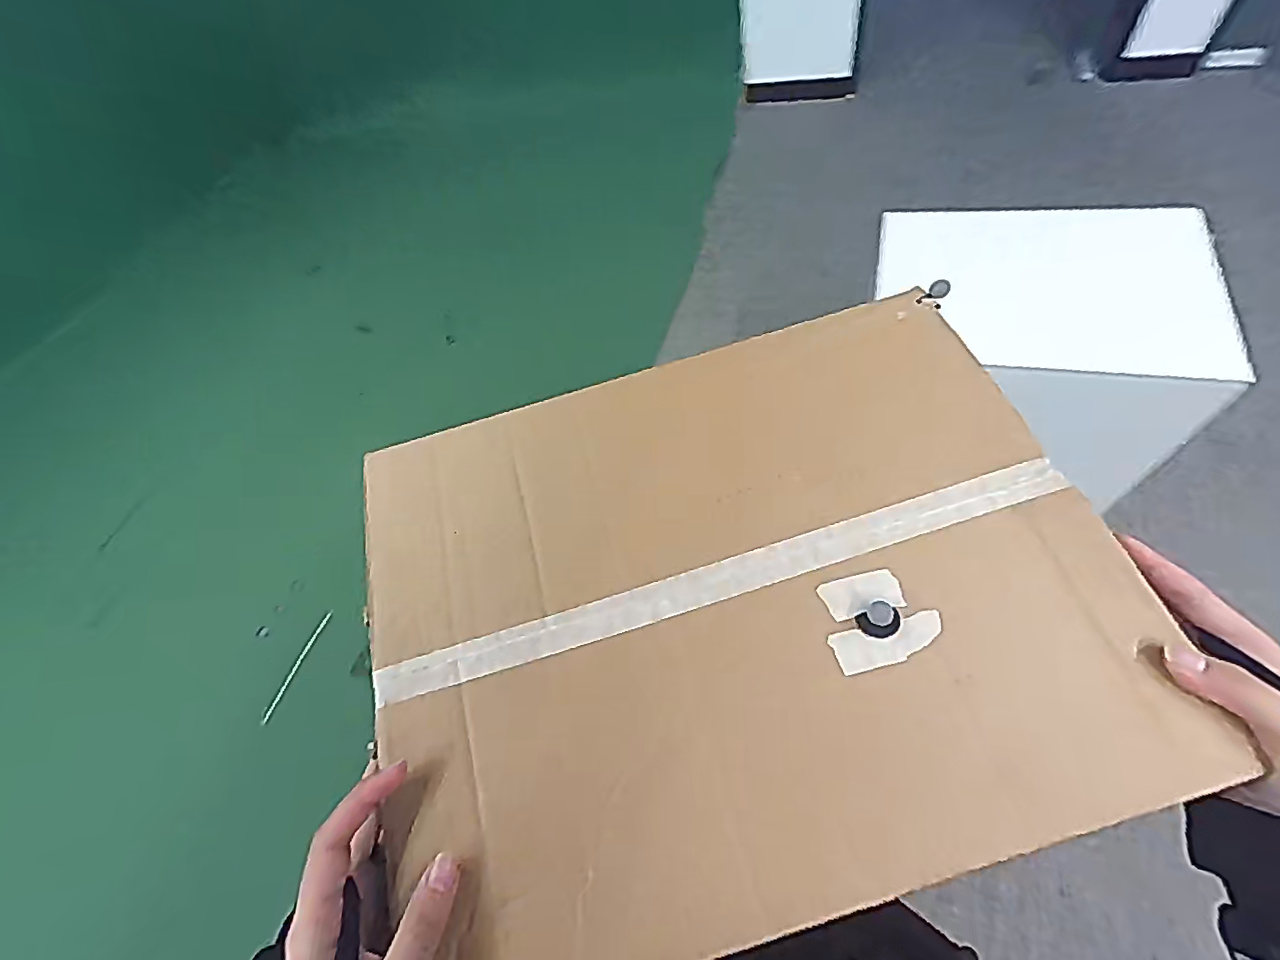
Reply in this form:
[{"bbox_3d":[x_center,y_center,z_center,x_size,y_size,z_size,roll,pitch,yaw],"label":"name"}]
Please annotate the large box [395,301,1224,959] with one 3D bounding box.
[{"bbox_3d":[0.070,0.119,0.453,0.408,0.320,0.320,-16,64,-2],"label":"large box"}]
